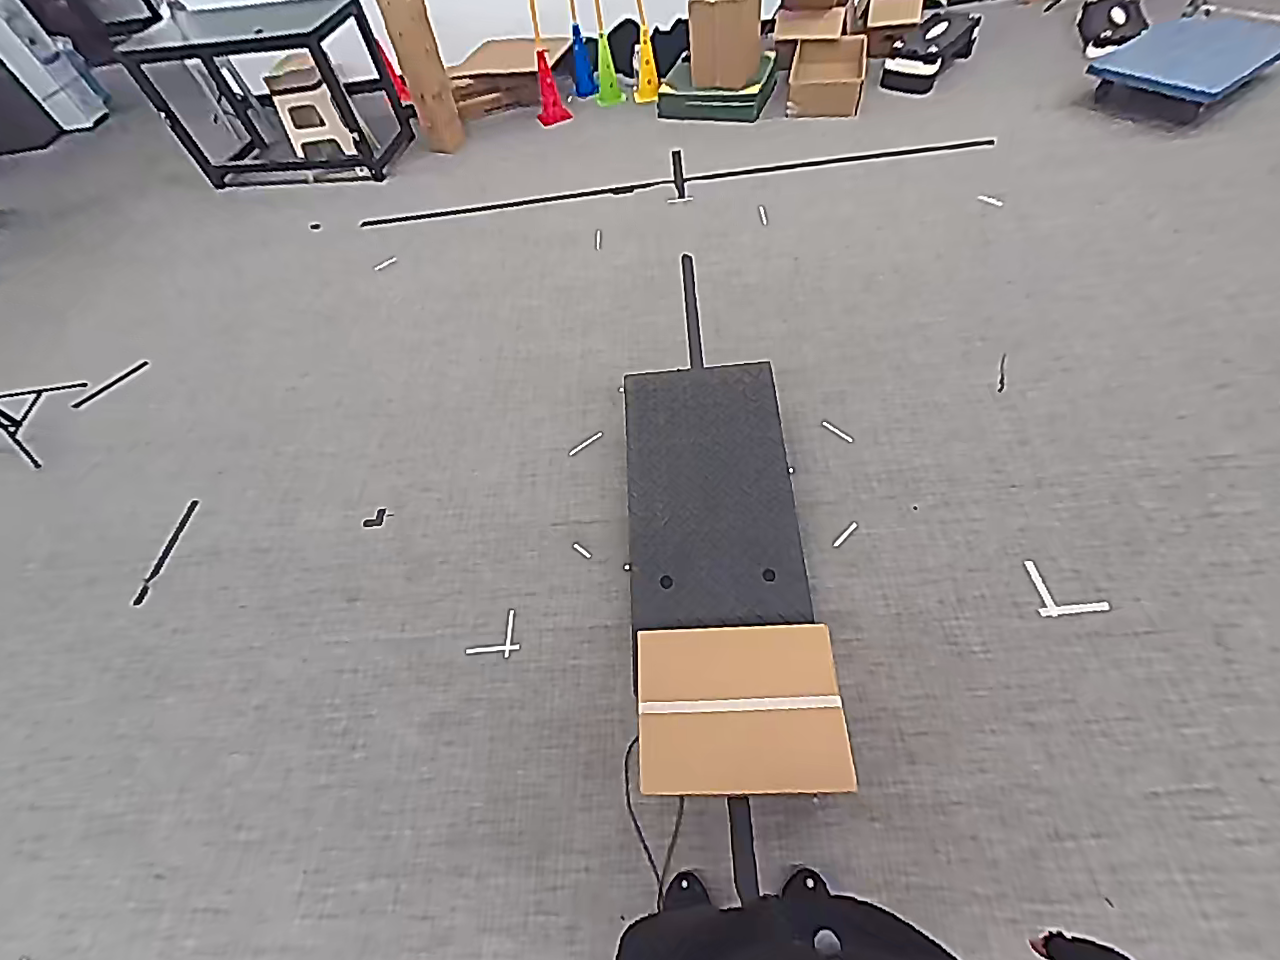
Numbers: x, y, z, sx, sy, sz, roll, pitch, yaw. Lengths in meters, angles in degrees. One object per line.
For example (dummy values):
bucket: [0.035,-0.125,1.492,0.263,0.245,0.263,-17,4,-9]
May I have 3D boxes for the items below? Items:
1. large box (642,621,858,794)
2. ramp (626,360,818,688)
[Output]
large box: [0.225,0.524,1.223,0.408,0.320,0.320,-4,59,5]
ramp: [0.219,0.078,1.609,0.509,0.206,0.991,-6,56,3]
